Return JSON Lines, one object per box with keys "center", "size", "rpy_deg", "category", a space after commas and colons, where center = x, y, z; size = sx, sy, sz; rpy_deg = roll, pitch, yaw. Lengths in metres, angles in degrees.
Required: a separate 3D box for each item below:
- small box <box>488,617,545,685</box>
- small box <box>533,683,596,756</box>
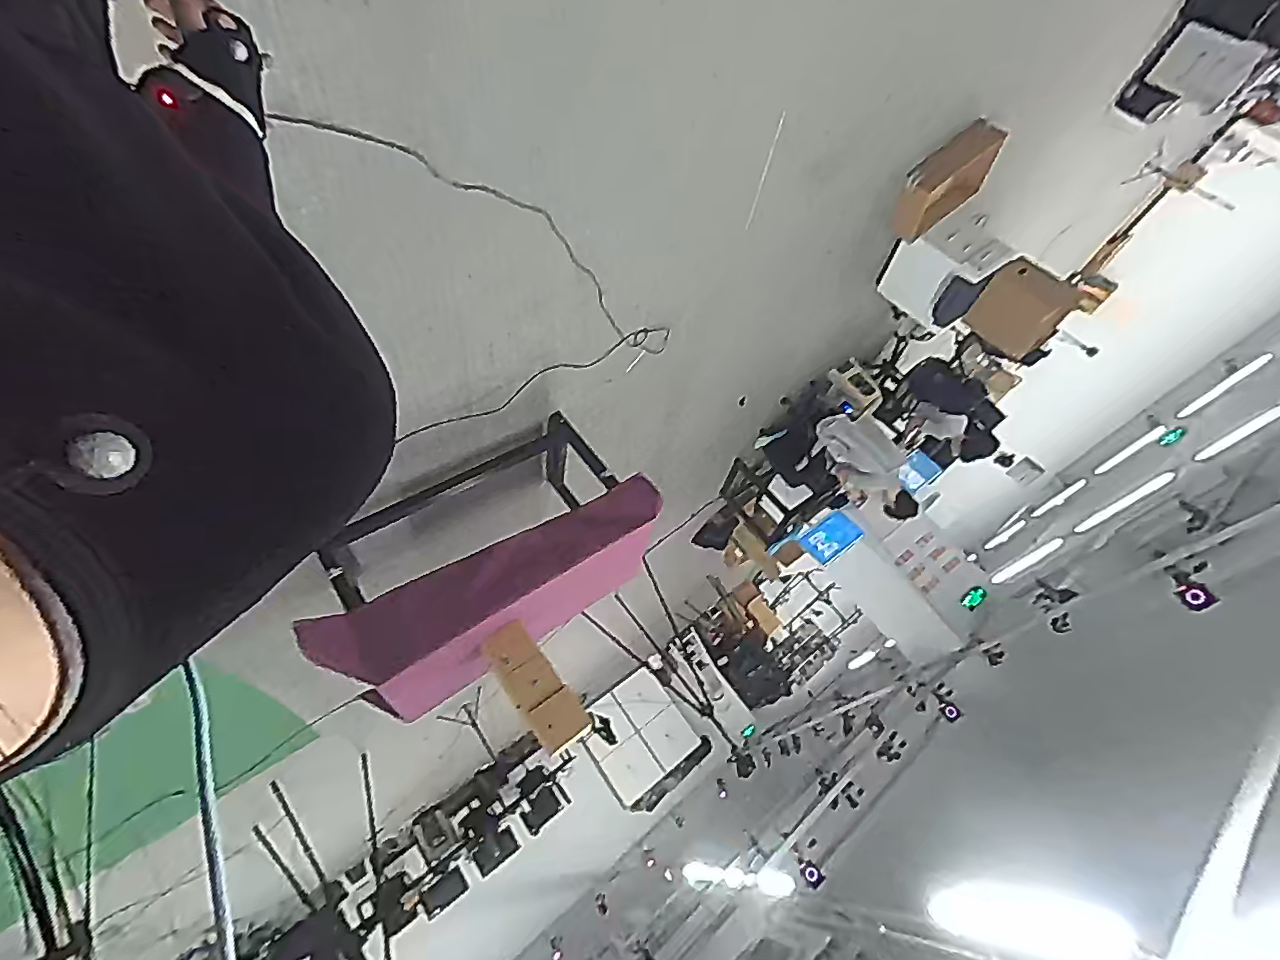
{"center": [-0.500, 0.684, 2.170], "size": [0.179, 0.176, 0.168], "rpy_deg": [-28, 156, -28], "category": "small box"}
{"center": [-0.290, 0.903, 2.045], "size": [0.179, 0.176, 0.168], "rpy_deg": [-29, 156, -28], "category": "small box"}
